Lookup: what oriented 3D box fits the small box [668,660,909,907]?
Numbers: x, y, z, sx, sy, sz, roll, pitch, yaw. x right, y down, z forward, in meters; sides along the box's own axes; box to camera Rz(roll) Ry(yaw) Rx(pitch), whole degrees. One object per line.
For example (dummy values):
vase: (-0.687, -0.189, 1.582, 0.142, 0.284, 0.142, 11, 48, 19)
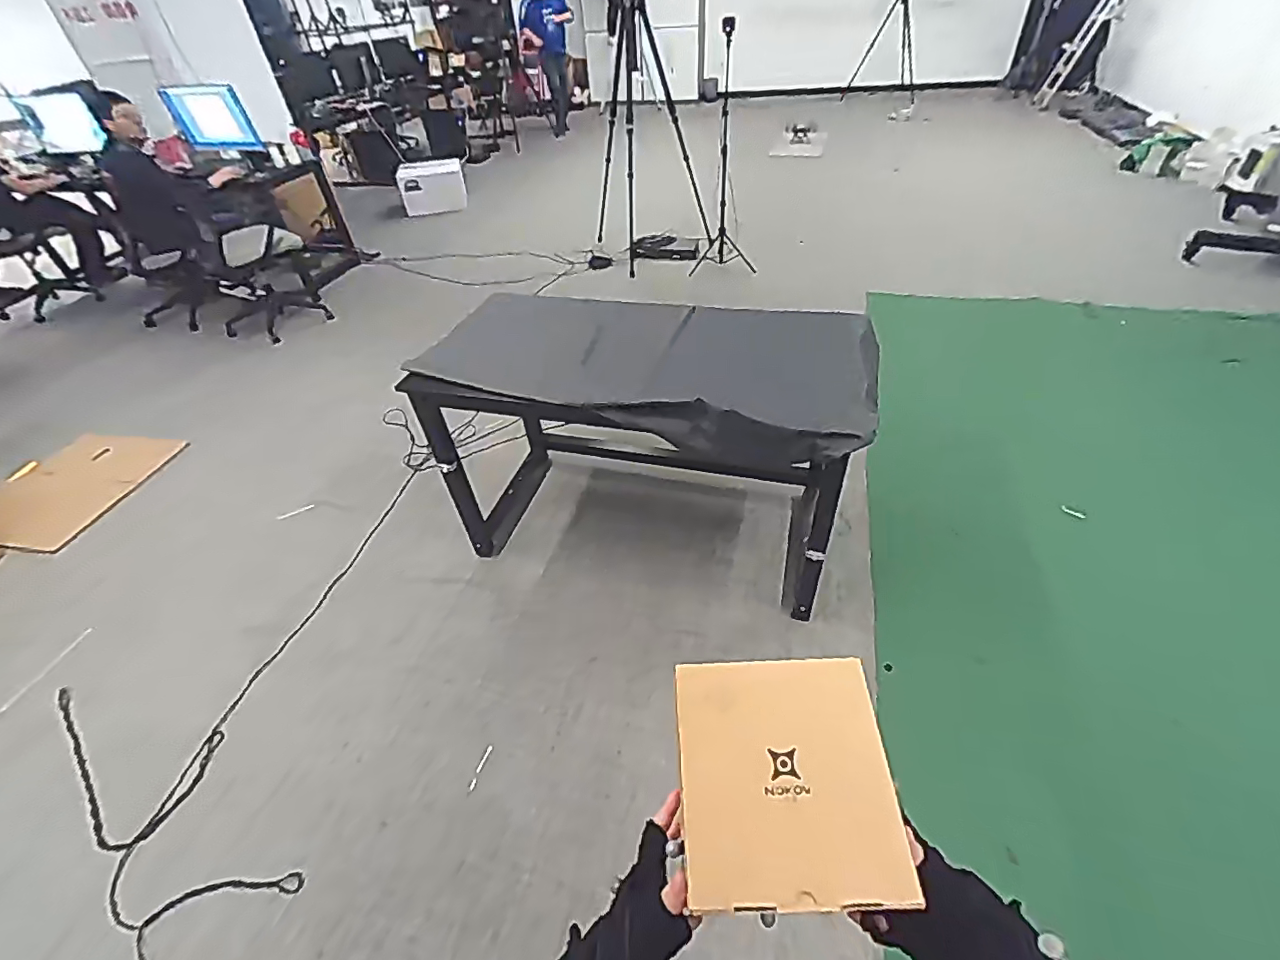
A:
small box: (0.112, 0.282, 0.501, 0.168, 0.176, 0.179, -2, 54, 1)
